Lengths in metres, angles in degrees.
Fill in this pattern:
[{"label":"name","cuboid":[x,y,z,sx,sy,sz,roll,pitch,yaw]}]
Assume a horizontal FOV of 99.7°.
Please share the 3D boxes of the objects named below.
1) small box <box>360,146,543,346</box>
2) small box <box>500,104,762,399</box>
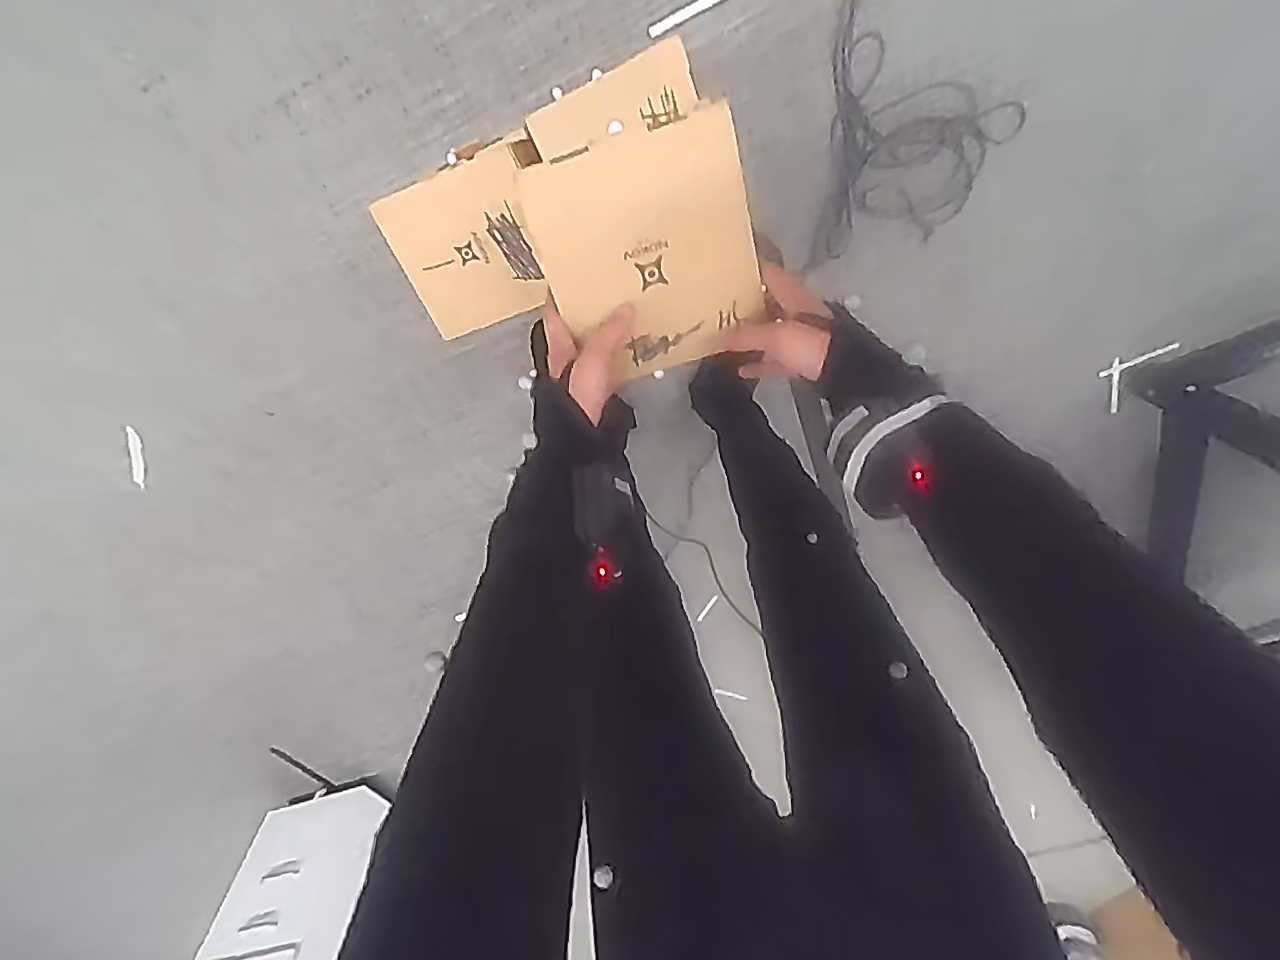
[{"label":"small box","cuboid":[-0.200,-0.298,0.678,0.179,0.176,0.168,-17,123,11]},{"label":"small box","cuboid":[-0.003,-0.199,0.483,0.168,0.176,0.179,-15,118,7]}]
